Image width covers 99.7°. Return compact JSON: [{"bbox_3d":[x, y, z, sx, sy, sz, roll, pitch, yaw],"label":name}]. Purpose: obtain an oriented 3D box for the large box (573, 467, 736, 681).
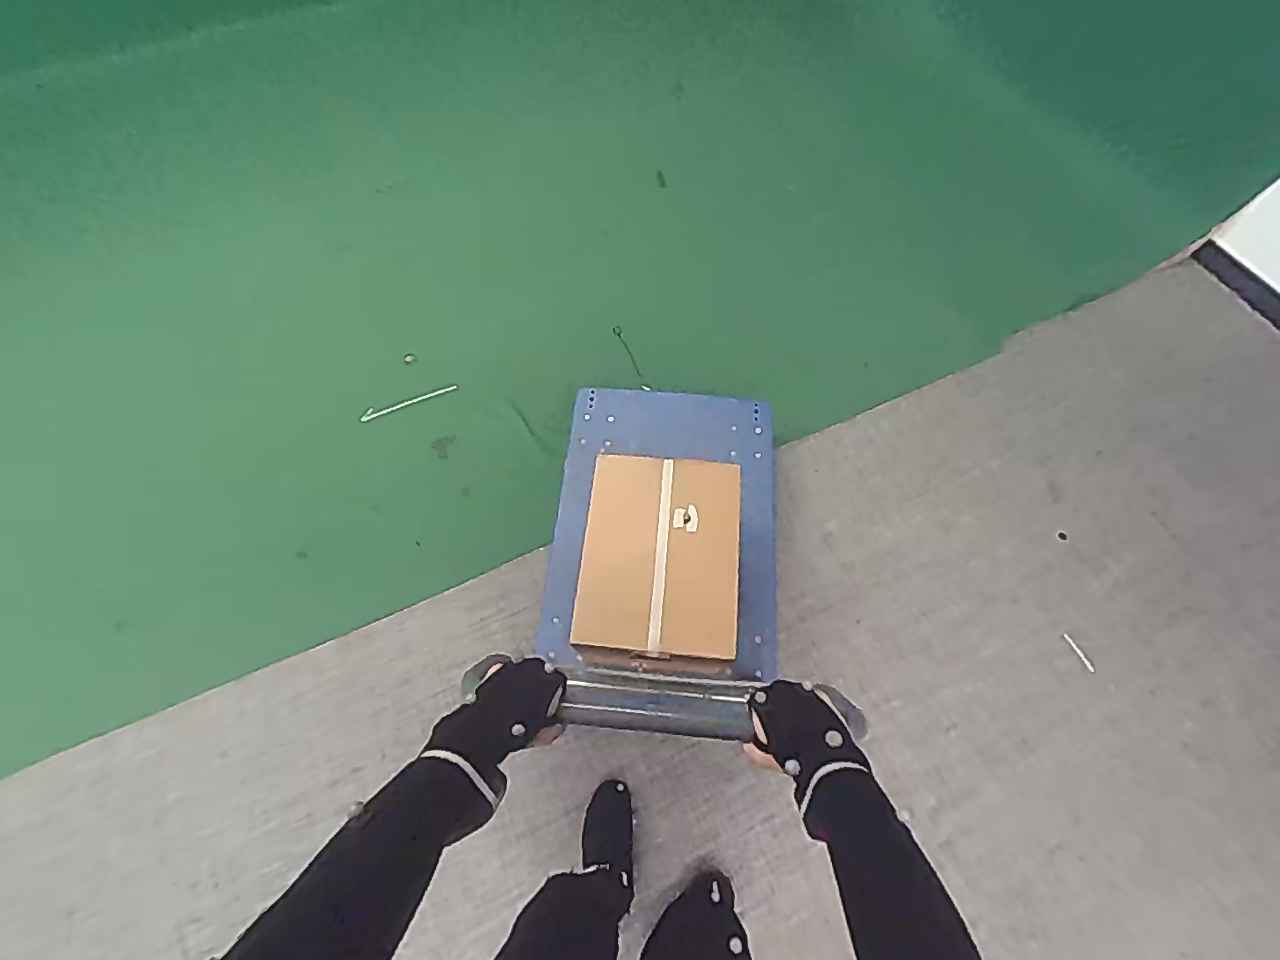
[{"bbox_3d":[0.043,0.225,1.237,0.320,0.320,0.408,5,64,3],"label":"large box"}]
